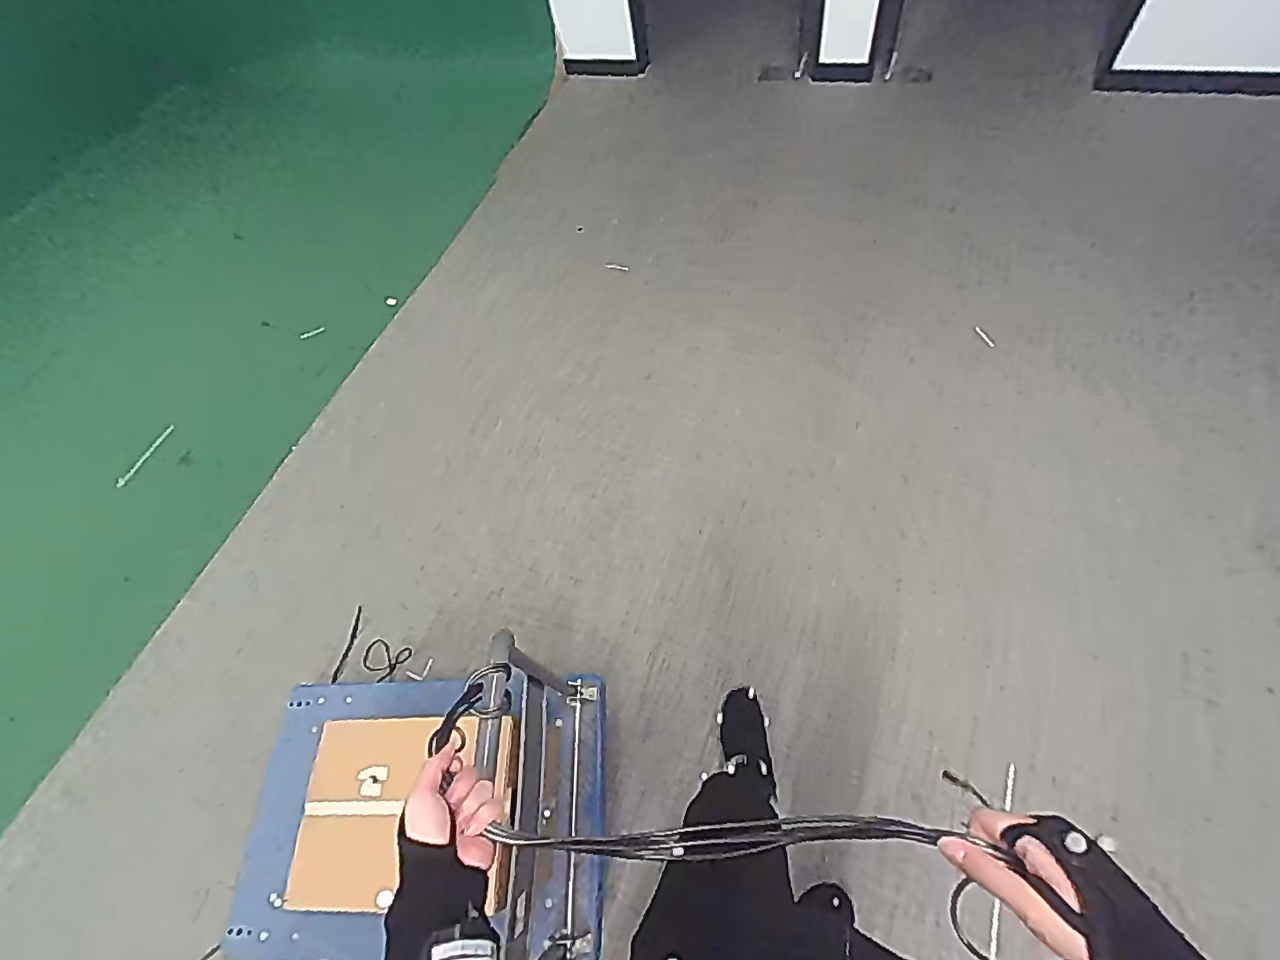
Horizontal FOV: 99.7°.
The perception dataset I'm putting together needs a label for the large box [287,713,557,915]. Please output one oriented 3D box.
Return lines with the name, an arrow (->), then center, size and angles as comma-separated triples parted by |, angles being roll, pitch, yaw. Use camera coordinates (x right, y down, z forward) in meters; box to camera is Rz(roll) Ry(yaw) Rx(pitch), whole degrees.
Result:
large box -> -0.411, 0.677, 1.131 | 0.408, 0.320, 0.320 | -6, 61, 9
